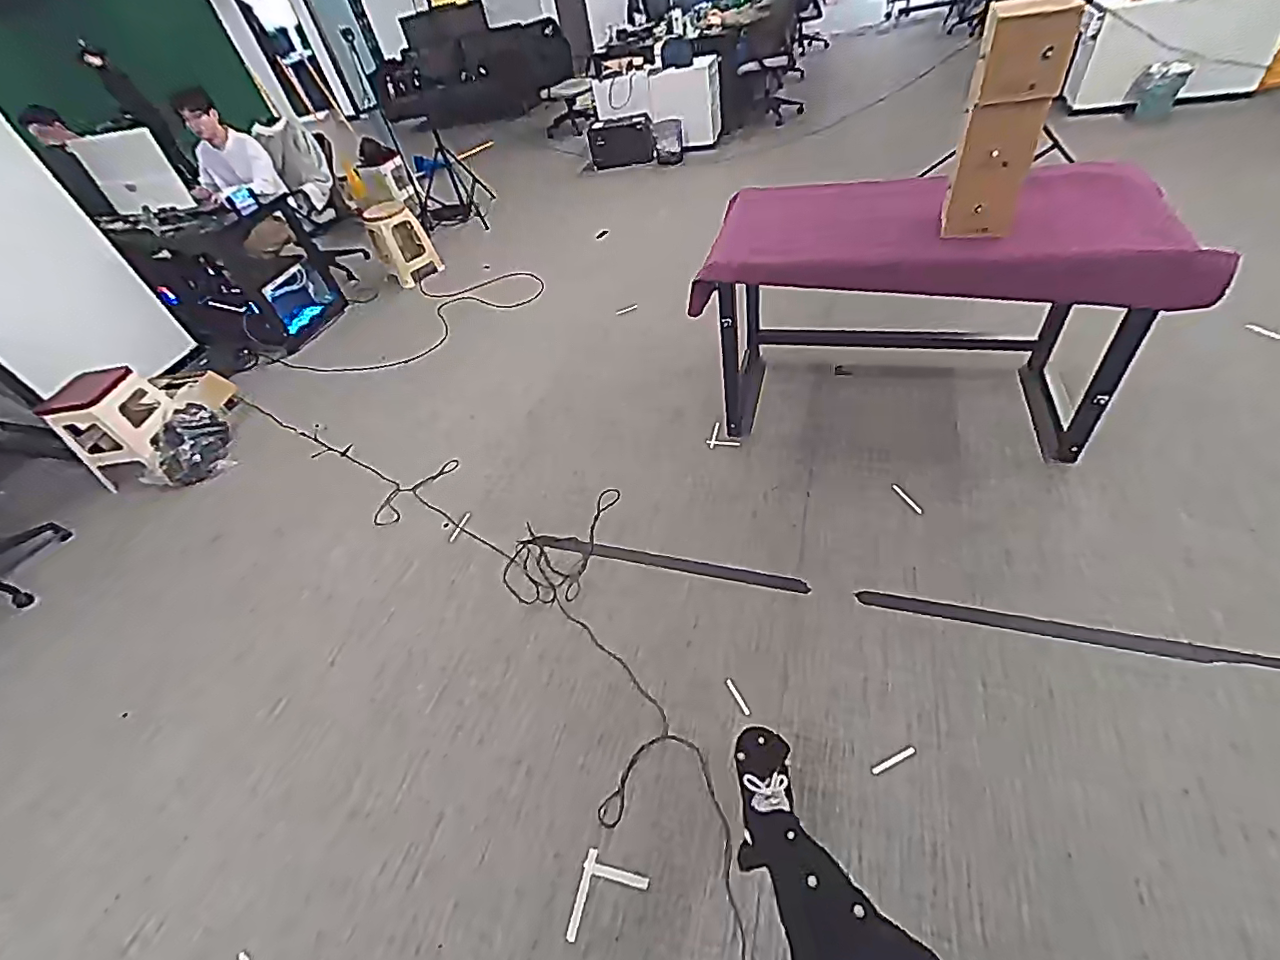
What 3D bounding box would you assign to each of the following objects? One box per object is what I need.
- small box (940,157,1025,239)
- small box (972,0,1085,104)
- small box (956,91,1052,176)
[{"bbox_3d":[0.954,-0.792,1.515,0.168,0.176,0.179,9,49,20],"label":"small box"},{"bbox_3d":[0.899,-1.002,1.270,0.168,0.176,0.179,7,48,18],"label":"small box"},{"bbox_3d":[0.931,-0.907,1.400,0.168,0.176,0.179,9,50,21],"label":"small box"}]
